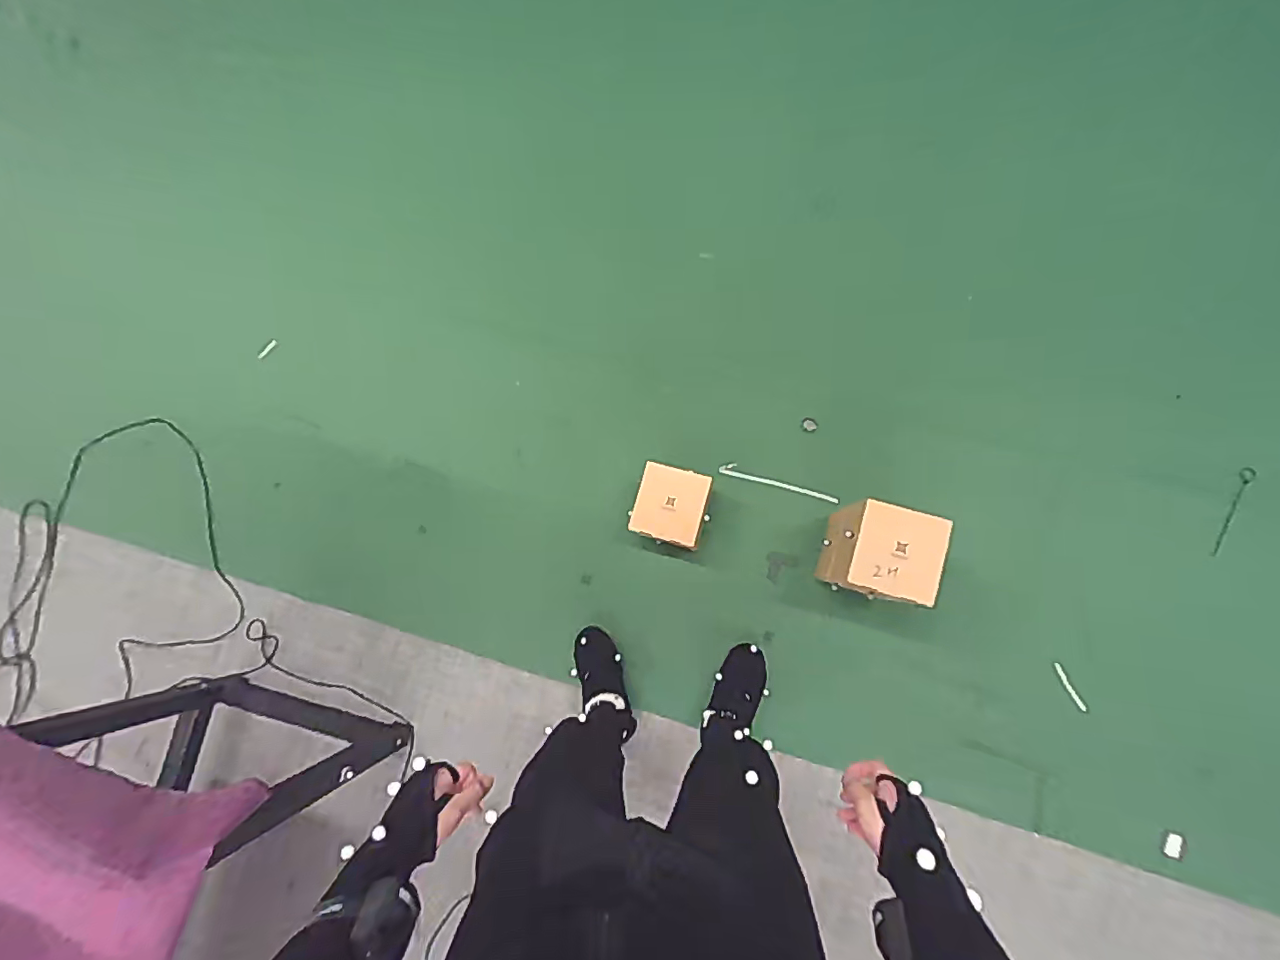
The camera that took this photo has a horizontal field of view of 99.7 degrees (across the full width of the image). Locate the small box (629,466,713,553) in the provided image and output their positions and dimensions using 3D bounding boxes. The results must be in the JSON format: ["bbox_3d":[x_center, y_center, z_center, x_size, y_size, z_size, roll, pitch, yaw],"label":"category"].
[{"bbox_3d":[0.082,0.079,1.373,0.168,0.176,0.179,15,84,9],"label":"small box"}]

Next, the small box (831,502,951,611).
[{"bbox_3d":[0.516,0.159,1.134,0.168,0.176,0.179,16,83,9],"label":"small box"}]
